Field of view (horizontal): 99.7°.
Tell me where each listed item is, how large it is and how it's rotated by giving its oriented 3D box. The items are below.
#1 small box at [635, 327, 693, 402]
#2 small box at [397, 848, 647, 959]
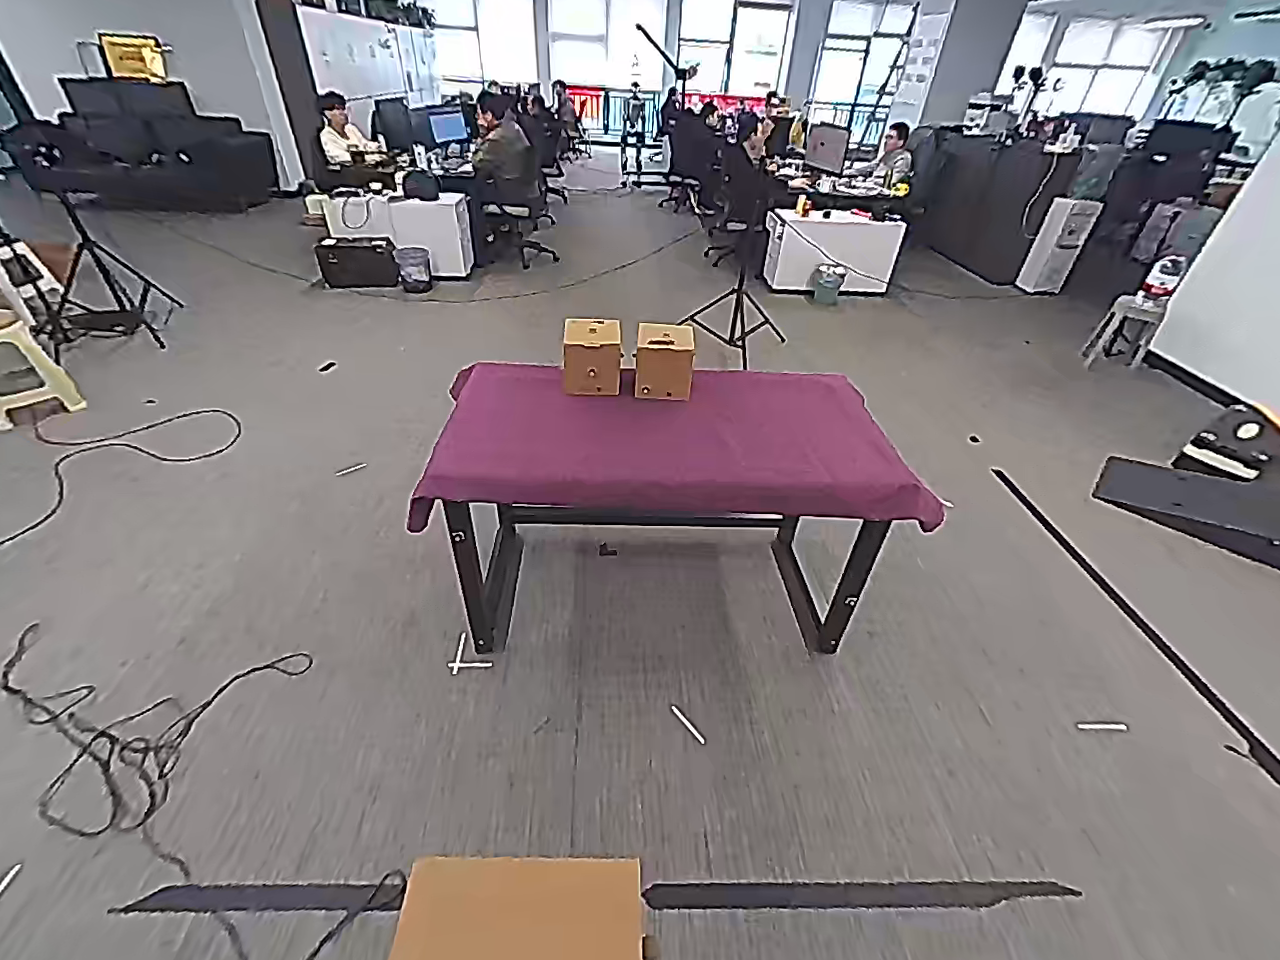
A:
[{"bbox_3d":[0.071,-0.350,1.649,0.168,0.176,0.179,3,38,0],"label":"small box"},{"bbox_3d":[-0.085,0.393,0.384,0.168,0.176,0.179,4,38,-5],"label":"small box"}]
